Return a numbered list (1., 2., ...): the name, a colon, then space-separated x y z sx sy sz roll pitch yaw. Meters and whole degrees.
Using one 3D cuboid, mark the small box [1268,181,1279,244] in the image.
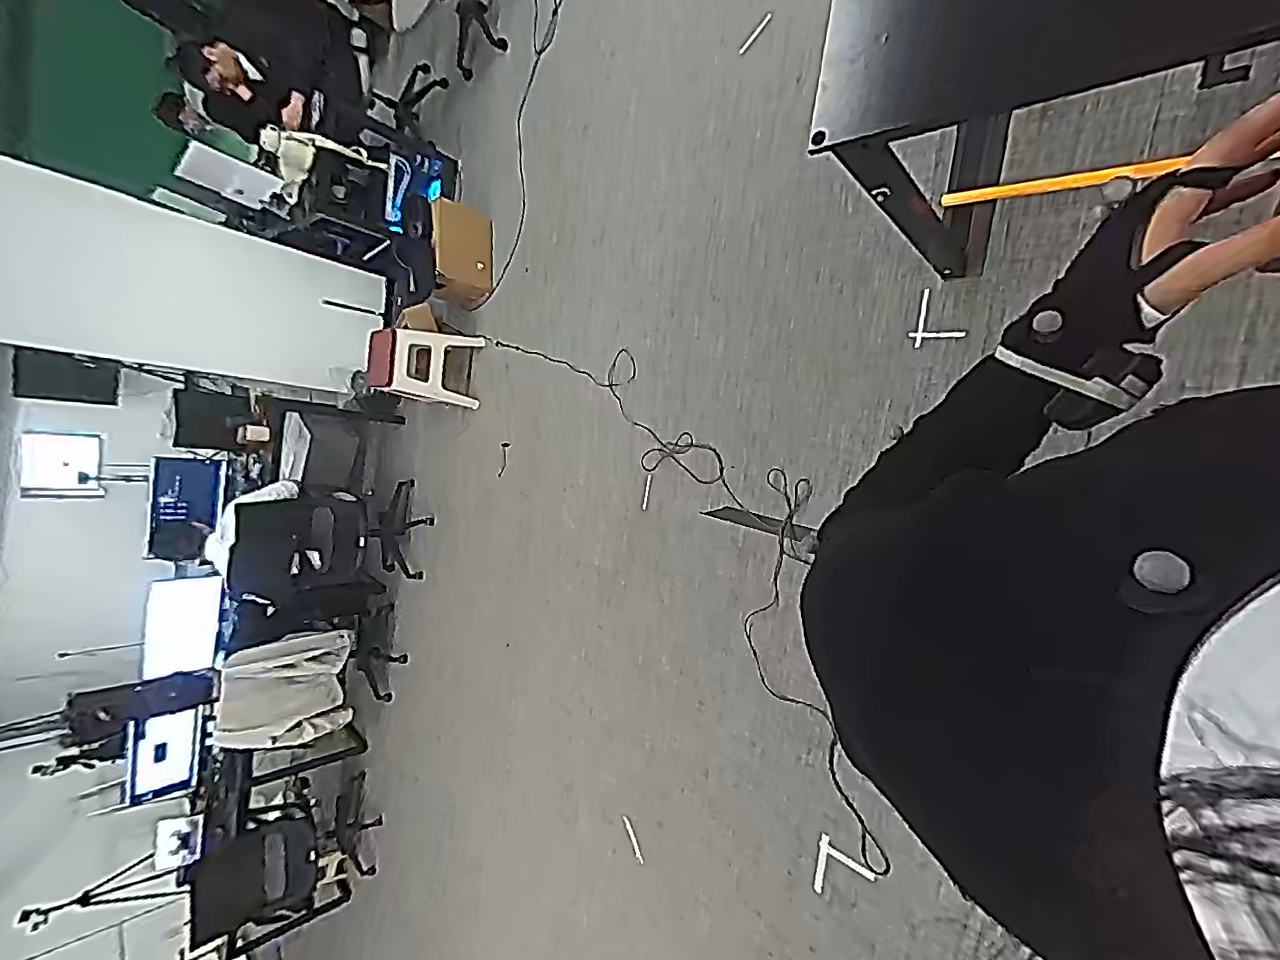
1. small box: 0.437 -0.218 0.241 0.168 0.176 0.179 17 100 41
